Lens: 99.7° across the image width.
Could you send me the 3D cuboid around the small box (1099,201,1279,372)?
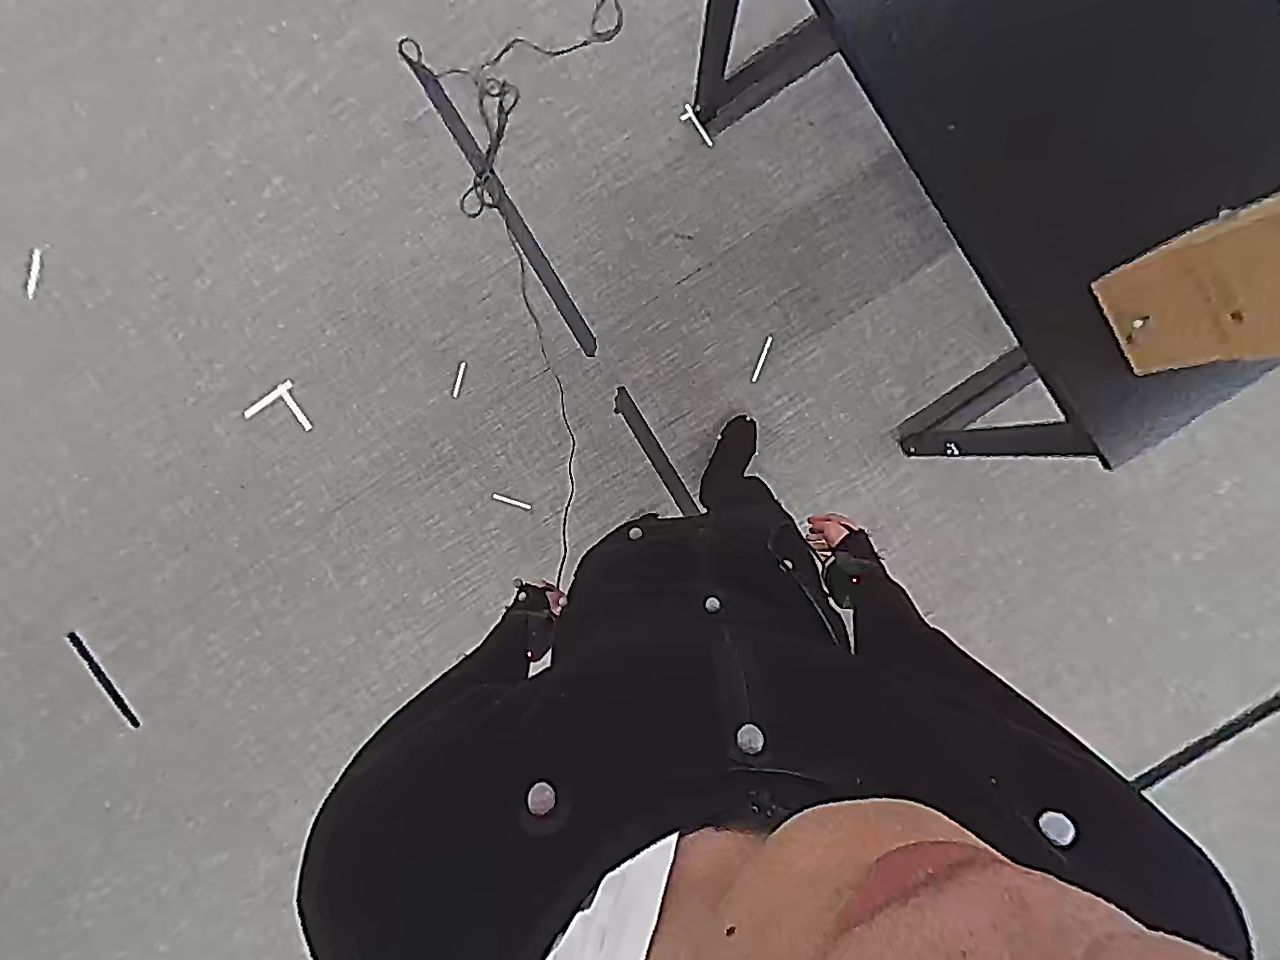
[{"bbox_3d":[0.832,-0.274,0.777,0.179,0.176,0.168,-27,91,2],"label":"small box"}]
